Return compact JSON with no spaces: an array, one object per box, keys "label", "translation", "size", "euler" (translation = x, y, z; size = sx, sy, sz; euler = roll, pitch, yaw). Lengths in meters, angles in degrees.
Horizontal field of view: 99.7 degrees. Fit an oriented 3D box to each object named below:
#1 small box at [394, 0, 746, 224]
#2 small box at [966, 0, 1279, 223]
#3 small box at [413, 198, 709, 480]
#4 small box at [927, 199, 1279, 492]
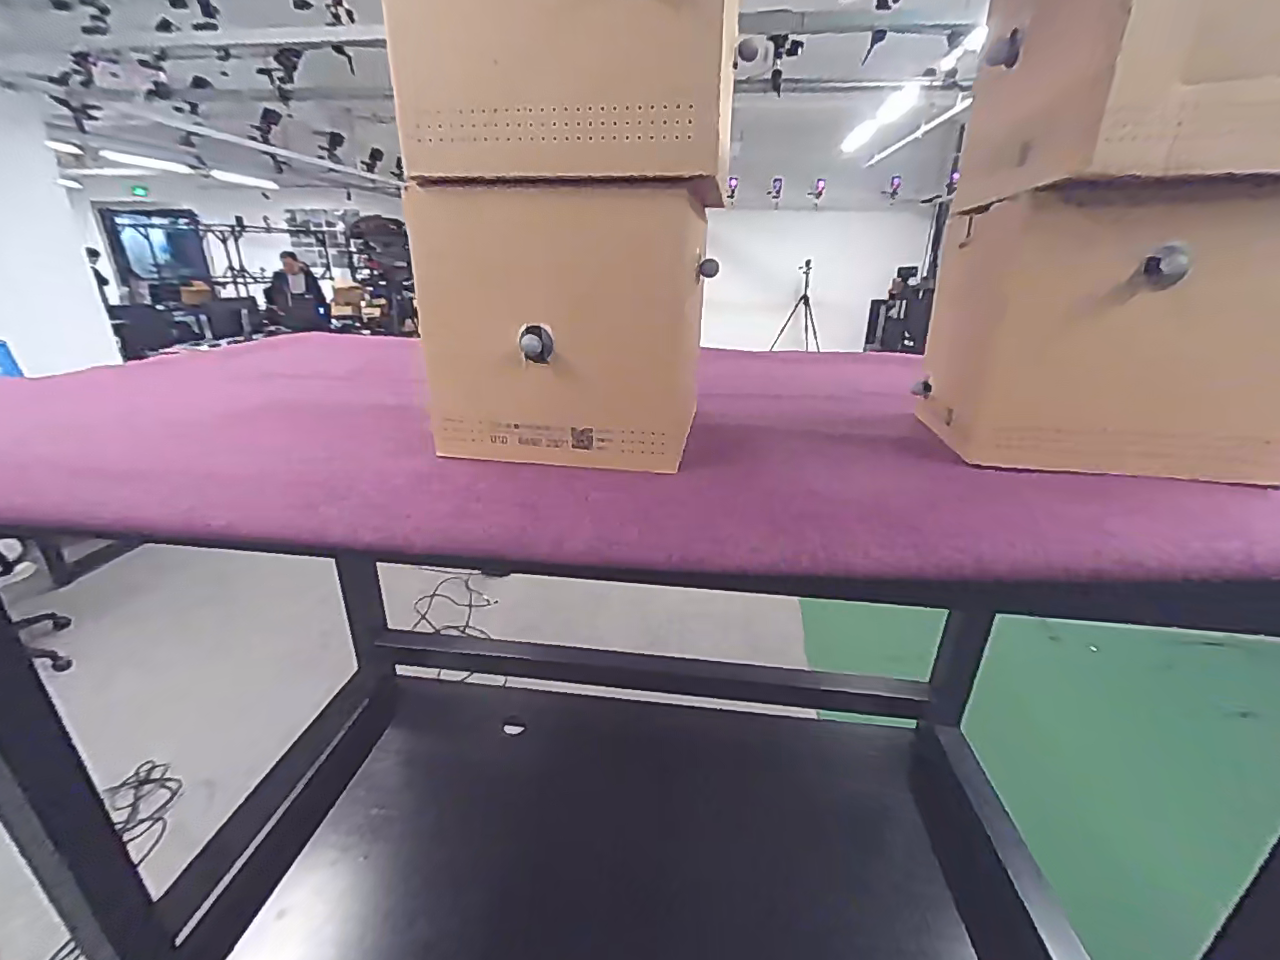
[{"label":"small box","translation":[-0.027,-0.254,0.334],"size":[0.179,0.176,0.168],"euler":[4,21,9]},{"label":"small box","translation":[0.321,-0.246,0.321],"size":[0.179,0.176,0.168],"euler":[3,20,8]},{"label":"small box","translation":[-0.039,-0.108,0.406],"size":[0.168,0.176,0.179],"euler":[5,22,8]},{"label":"small box","translation":[0.324,-0.098,0.390],"size":[0.179,0.176,0.168],"euler":[5,20,12]}]
